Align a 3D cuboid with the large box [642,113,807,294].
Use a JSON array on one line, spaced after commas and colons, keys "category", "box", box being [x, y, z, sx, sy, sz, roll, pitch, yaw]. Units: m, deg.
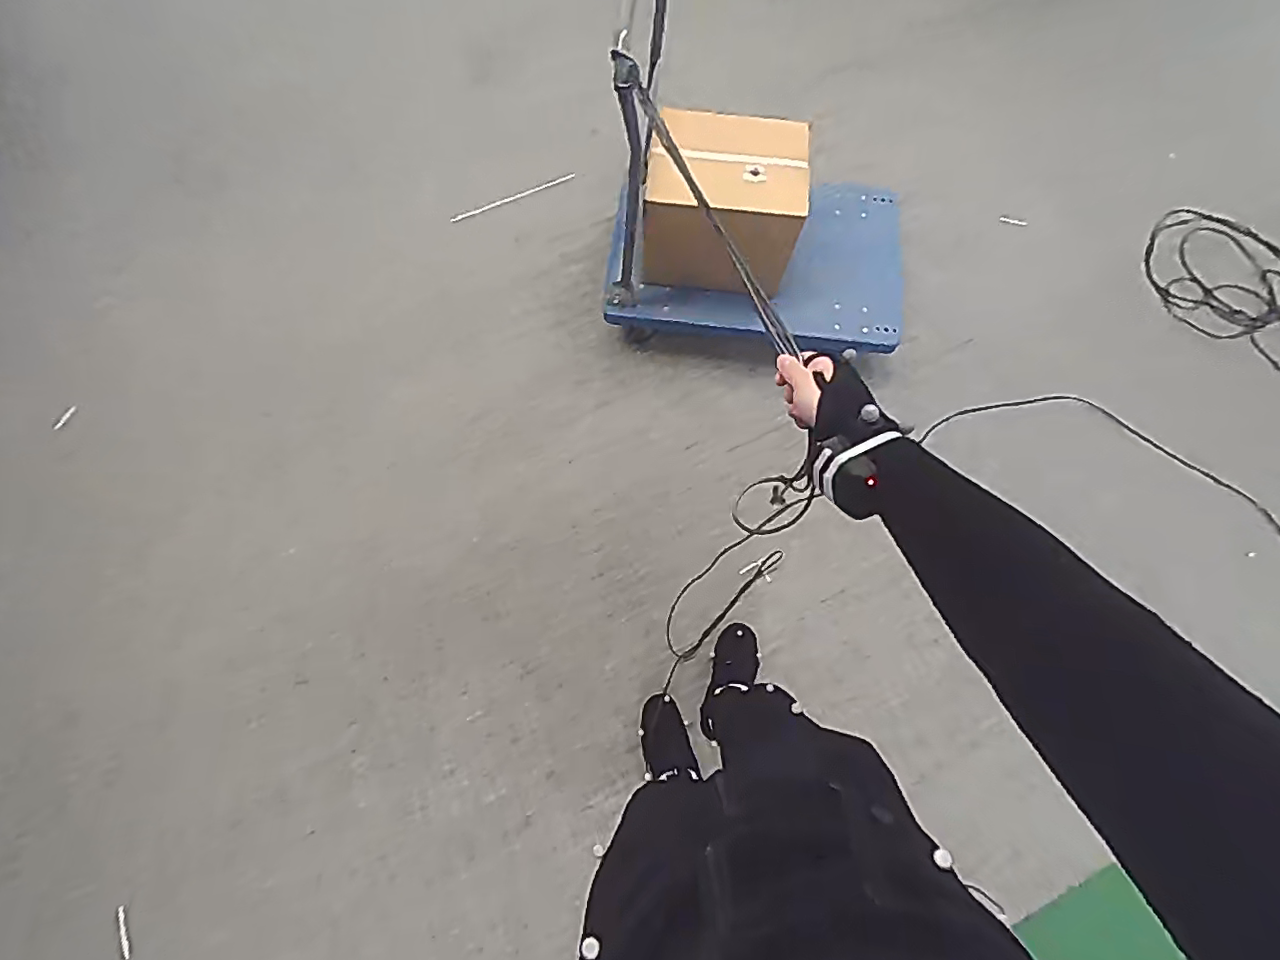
[{"category": "large box", "box": [0.218, -0.752, 1.503, 0.408, 0.320, 0.320, 6, 72, 0]}]
